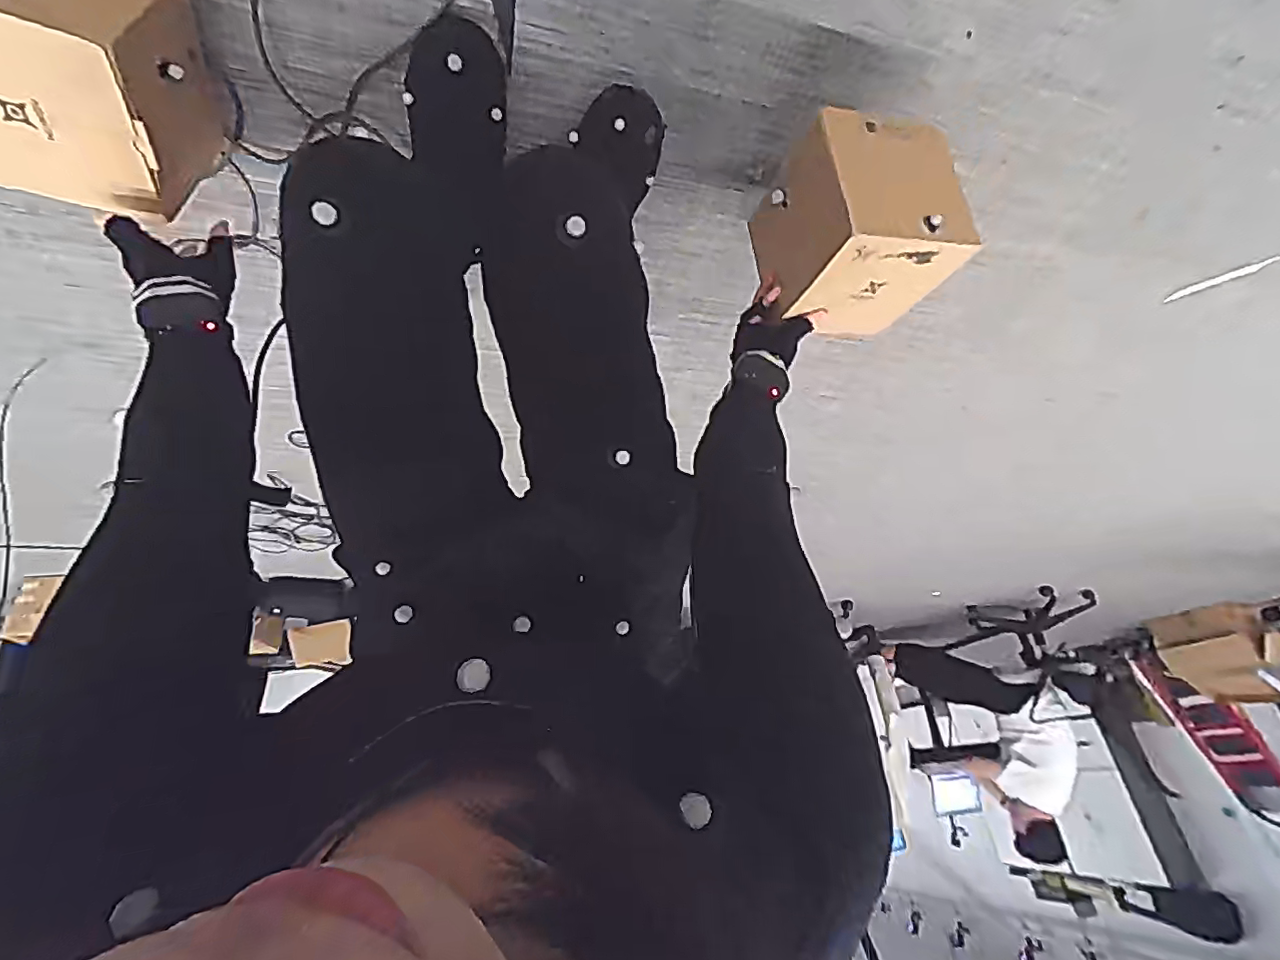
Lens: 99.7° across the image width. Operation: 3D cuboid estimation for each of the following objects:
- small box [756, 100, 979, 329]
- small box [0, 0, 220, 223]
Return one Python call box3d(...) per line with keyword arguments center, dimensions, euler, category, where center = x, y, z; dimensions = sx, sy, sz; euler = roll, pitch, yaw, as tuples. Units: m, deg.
box3d(center=(0.254, -0.303, 0.650), dimensions=(0.168, 0.176, 0.179), euler=(-4, 164, -17), category="small box")
box3d(center=(-0.541, -0.389, 0.519), dimensions=(0.179, 0.176, 0.168), euler=(8, 145, -18), category="small box")
